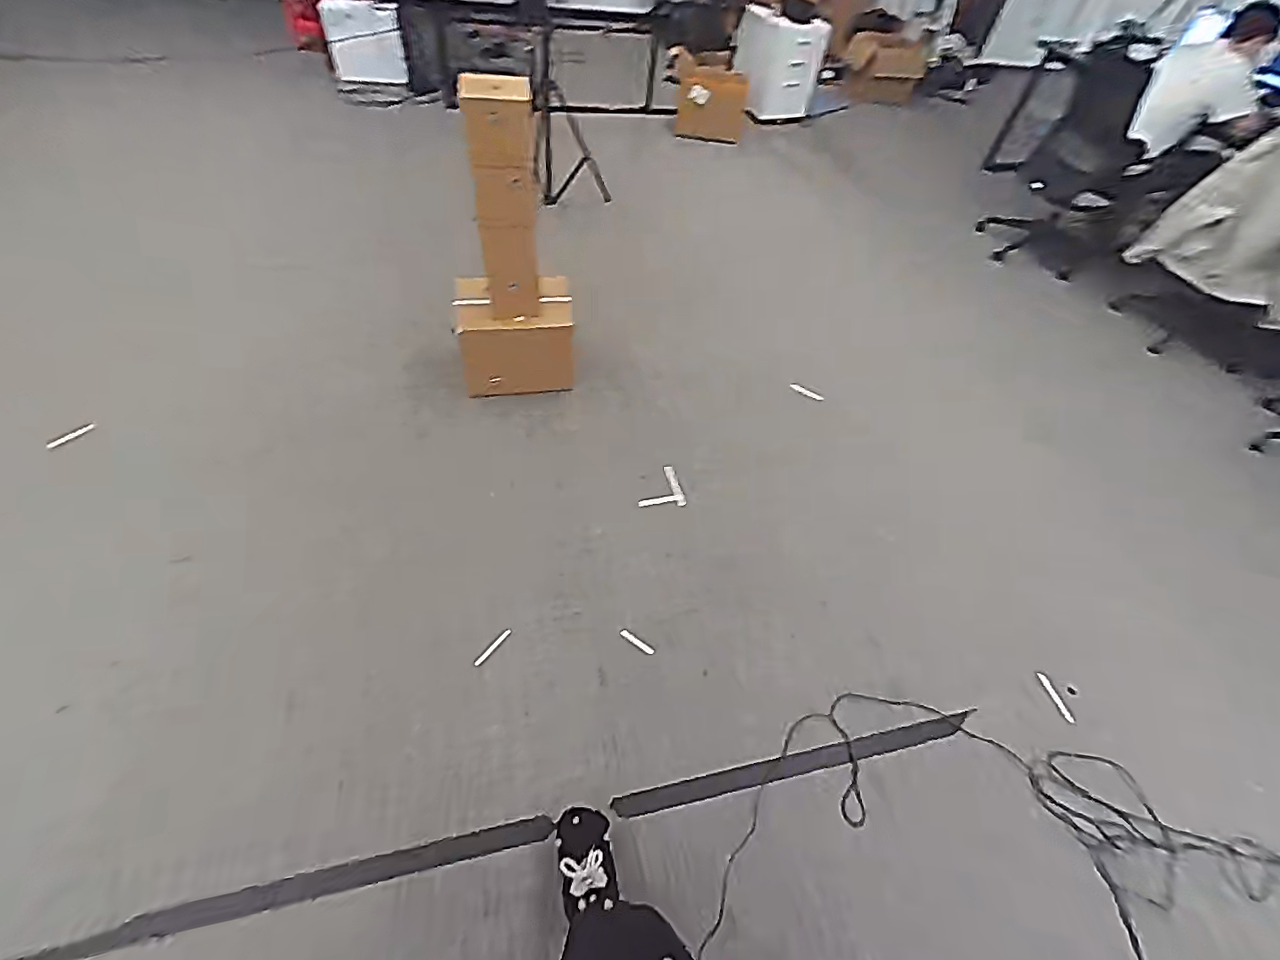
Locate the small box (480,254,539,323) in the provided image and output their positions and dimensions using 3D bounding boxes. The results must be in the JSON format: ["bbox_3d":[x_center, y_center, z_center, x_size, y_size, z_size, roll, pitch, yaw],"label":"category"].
[{"bbox_3d":[-0.449,-0.659,1.871,0.179,0.176,0.168,-8,55,-14],"label":"small box"}]

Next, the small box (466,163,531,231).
[{"bbox_3d":[-0.418,-0.862,1.614,0.179,0.176,0.168,-5,53,-11],"label":"small box"}]

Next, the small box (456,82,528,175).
[{"bbox_3d":[-0.402,-0.962,1.488,0.179,0.176,0.168,-5,54,-11],"label":"small box"}]
